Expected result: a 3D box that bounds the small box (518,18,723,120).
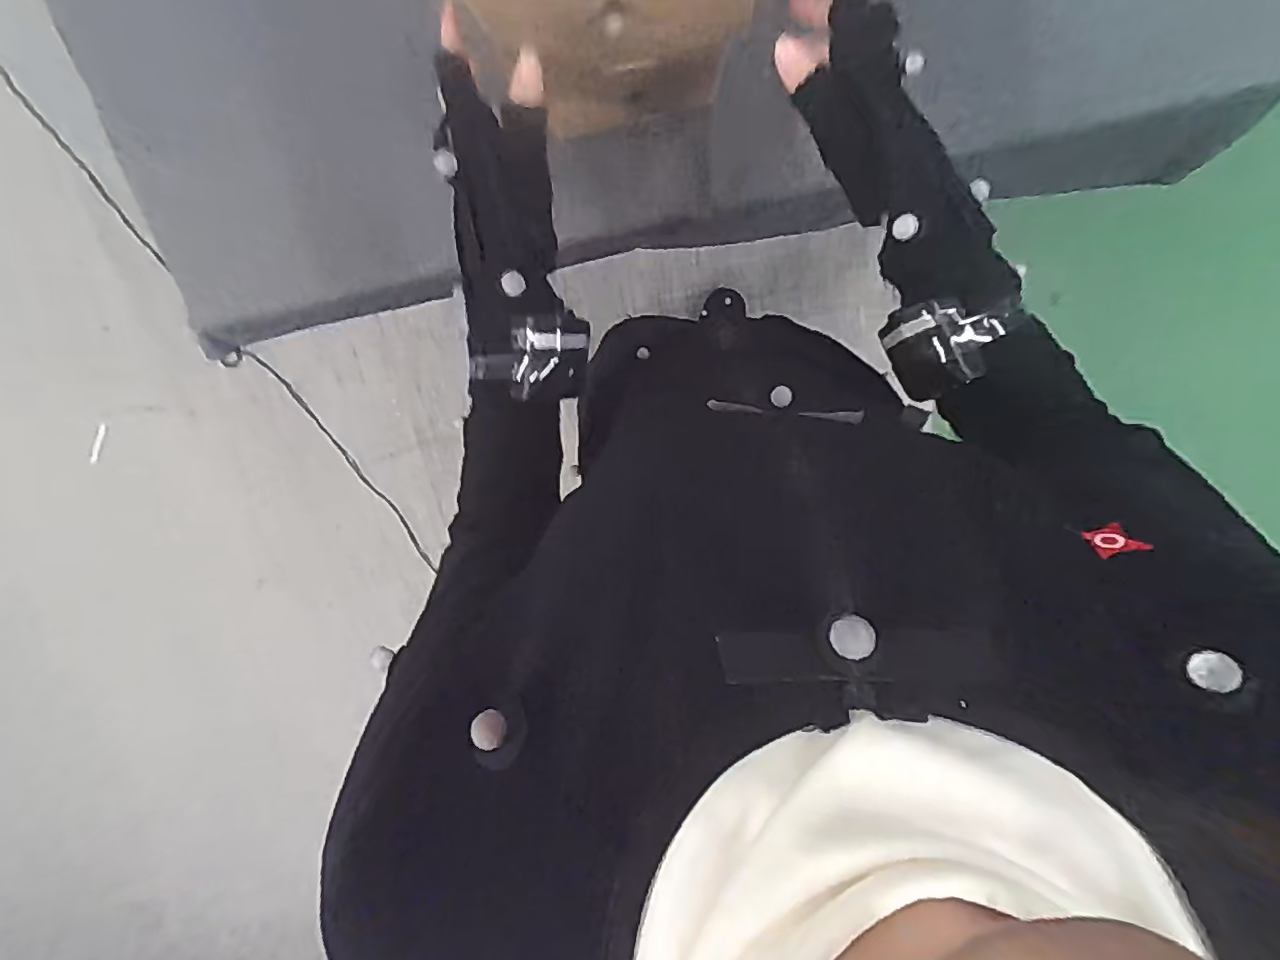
[{"bbox_3d":[-0.027,-0.434,0.463,0.168,0.176,0.179,-10,110,6],"label":"small box"}]
